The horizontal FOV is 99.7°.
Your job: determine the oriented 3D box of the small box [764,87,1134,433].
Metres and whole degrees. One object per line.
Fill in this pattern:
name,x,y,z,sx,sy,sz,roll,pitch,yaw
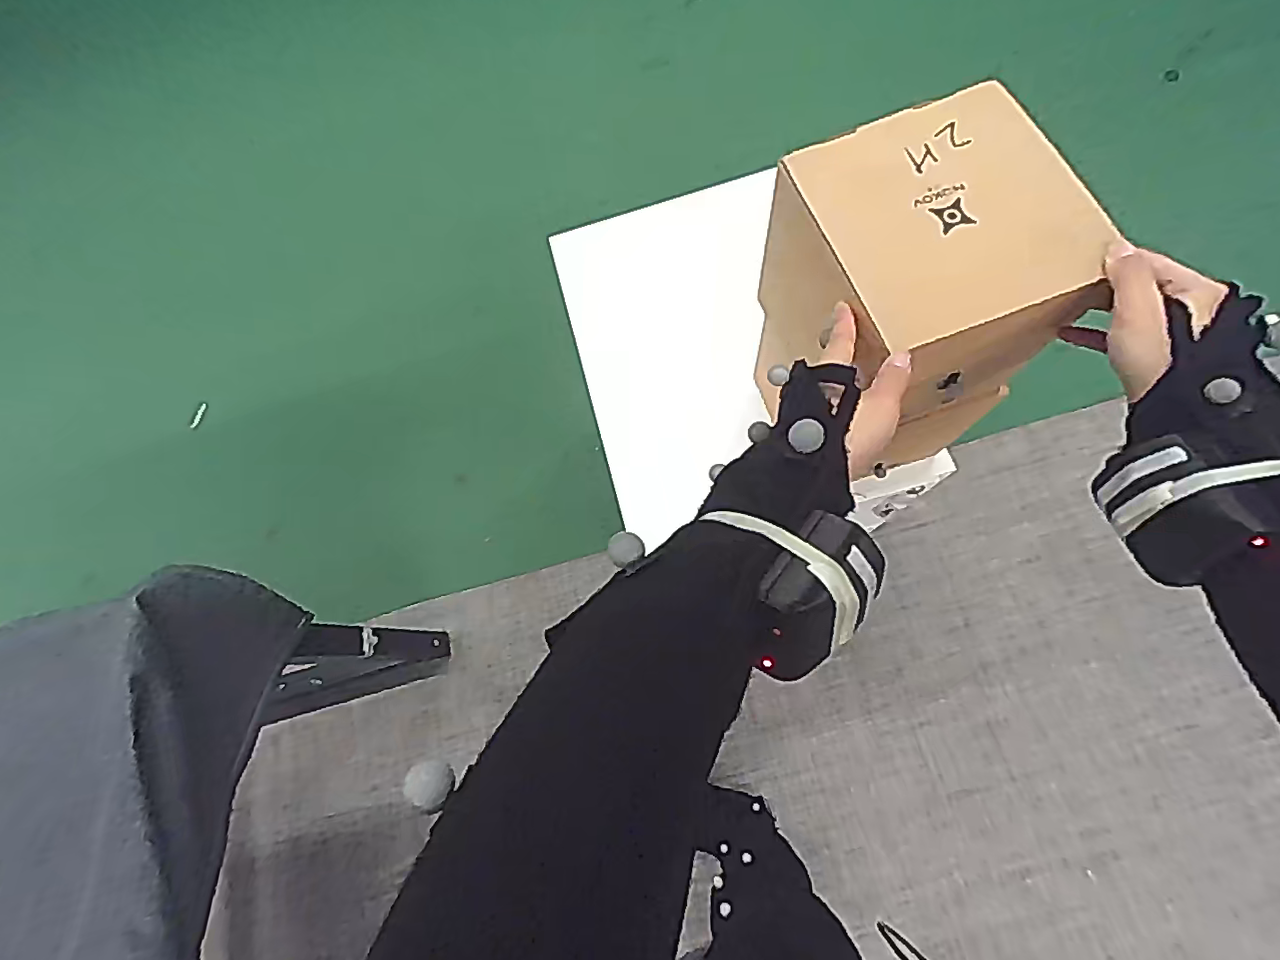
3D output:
small box,0.213,-0.154,0.436,0.168,0.176,0.179,-19,72,0
